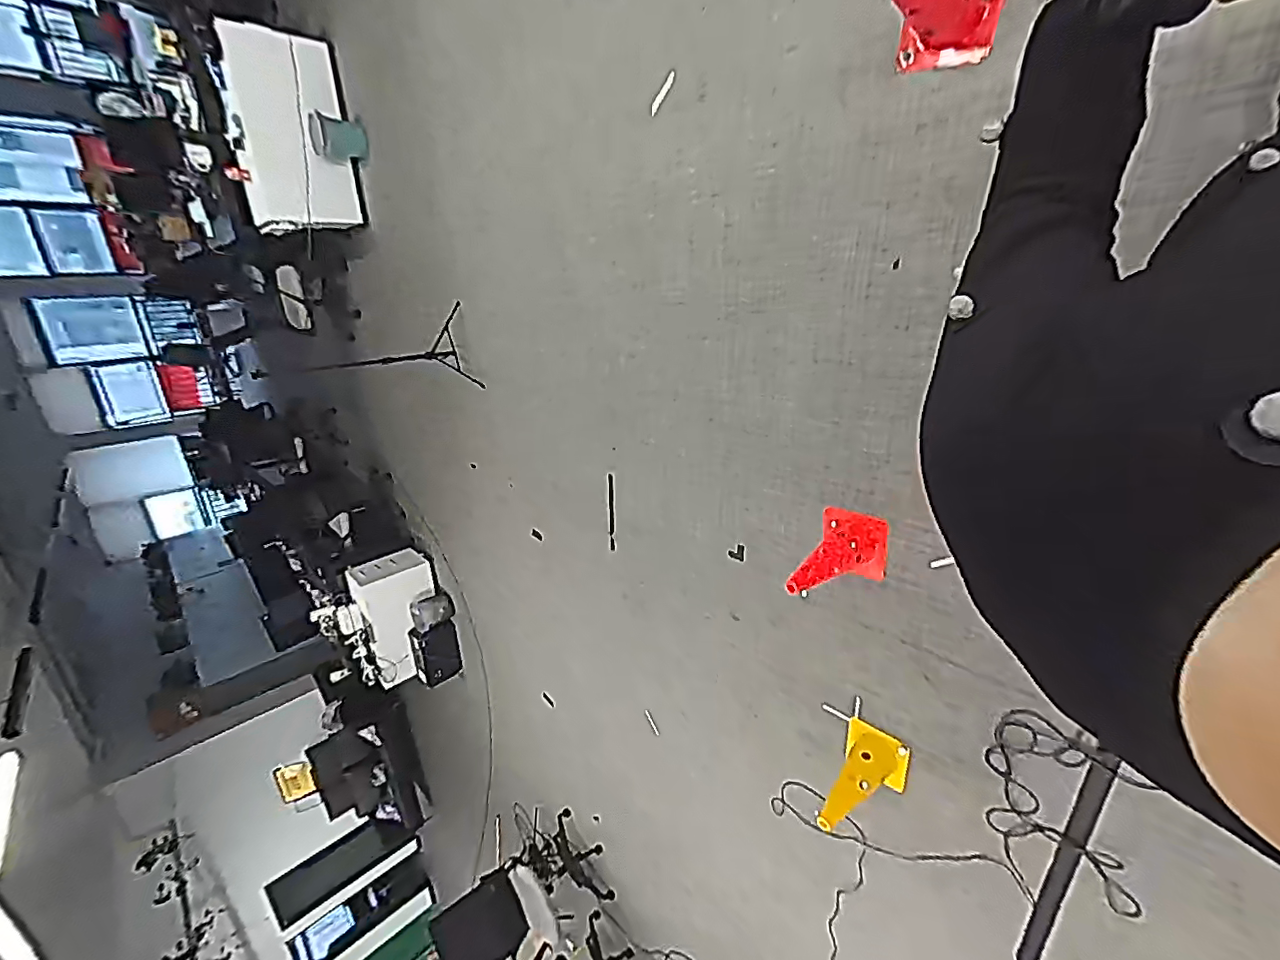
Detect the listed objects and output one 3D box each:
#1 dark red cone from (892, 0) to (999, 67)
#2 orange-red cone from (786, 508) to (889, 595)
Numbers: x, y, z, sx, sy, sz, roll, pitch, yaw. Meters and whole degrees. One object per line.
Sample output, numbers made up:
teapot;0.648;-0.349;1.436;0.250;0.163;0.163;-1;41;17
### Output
dark red cone;0.524;-0.945;1.019;0.201;0.394;0.202;25;124;39
orange-red cone;0.536;0.243;1.549;0.198;0.360;0.199;17;119;45
